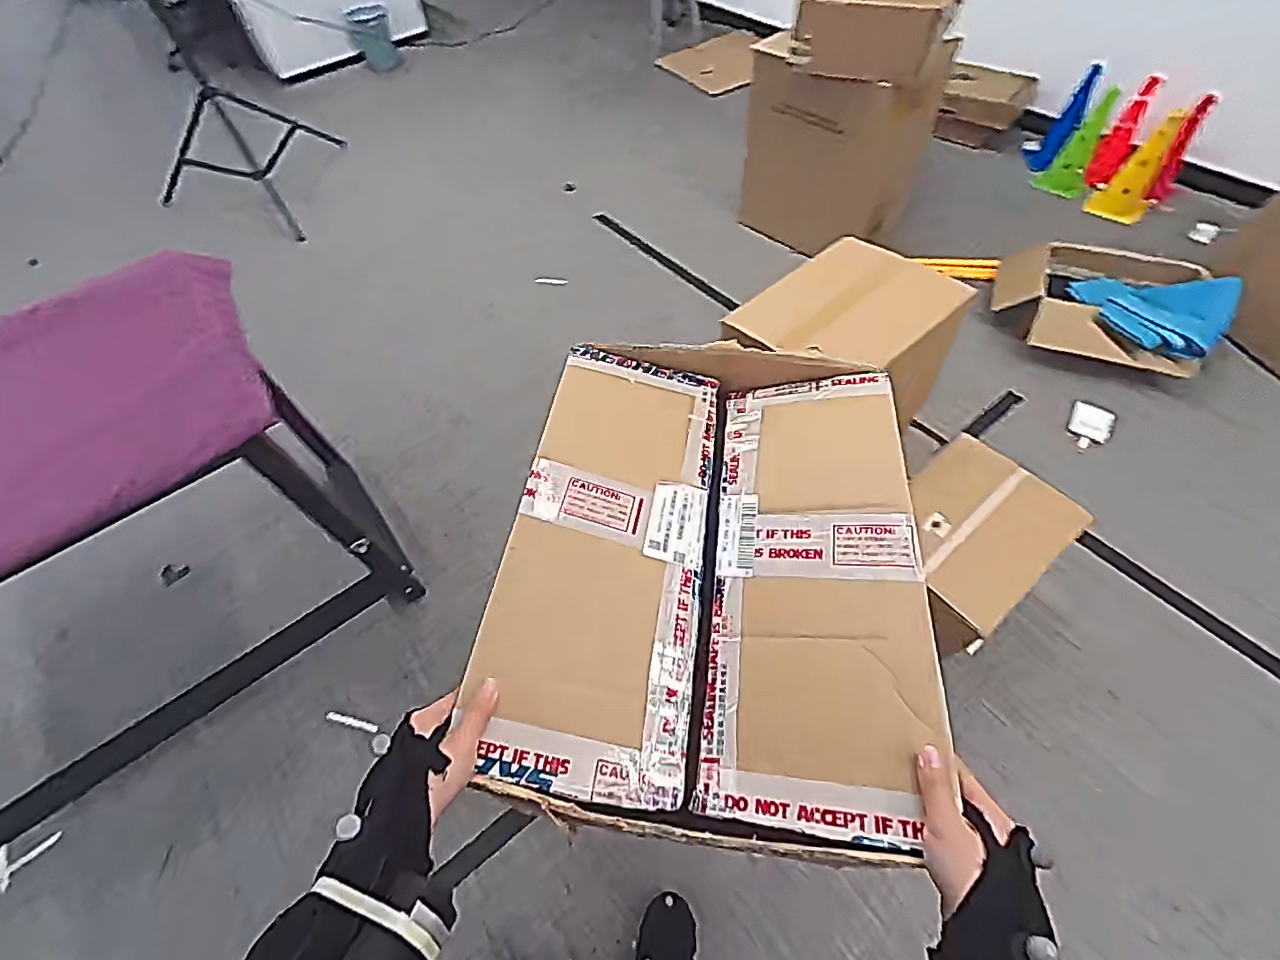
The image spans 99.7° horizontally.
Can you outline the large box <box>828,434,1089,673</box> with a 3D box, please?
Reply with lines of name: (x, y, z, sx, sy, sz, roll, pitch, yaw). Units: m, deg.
large box: (0.722, 0.175, 1.279, 0.408, 0.320, 0.320, -37, 61, -18)
